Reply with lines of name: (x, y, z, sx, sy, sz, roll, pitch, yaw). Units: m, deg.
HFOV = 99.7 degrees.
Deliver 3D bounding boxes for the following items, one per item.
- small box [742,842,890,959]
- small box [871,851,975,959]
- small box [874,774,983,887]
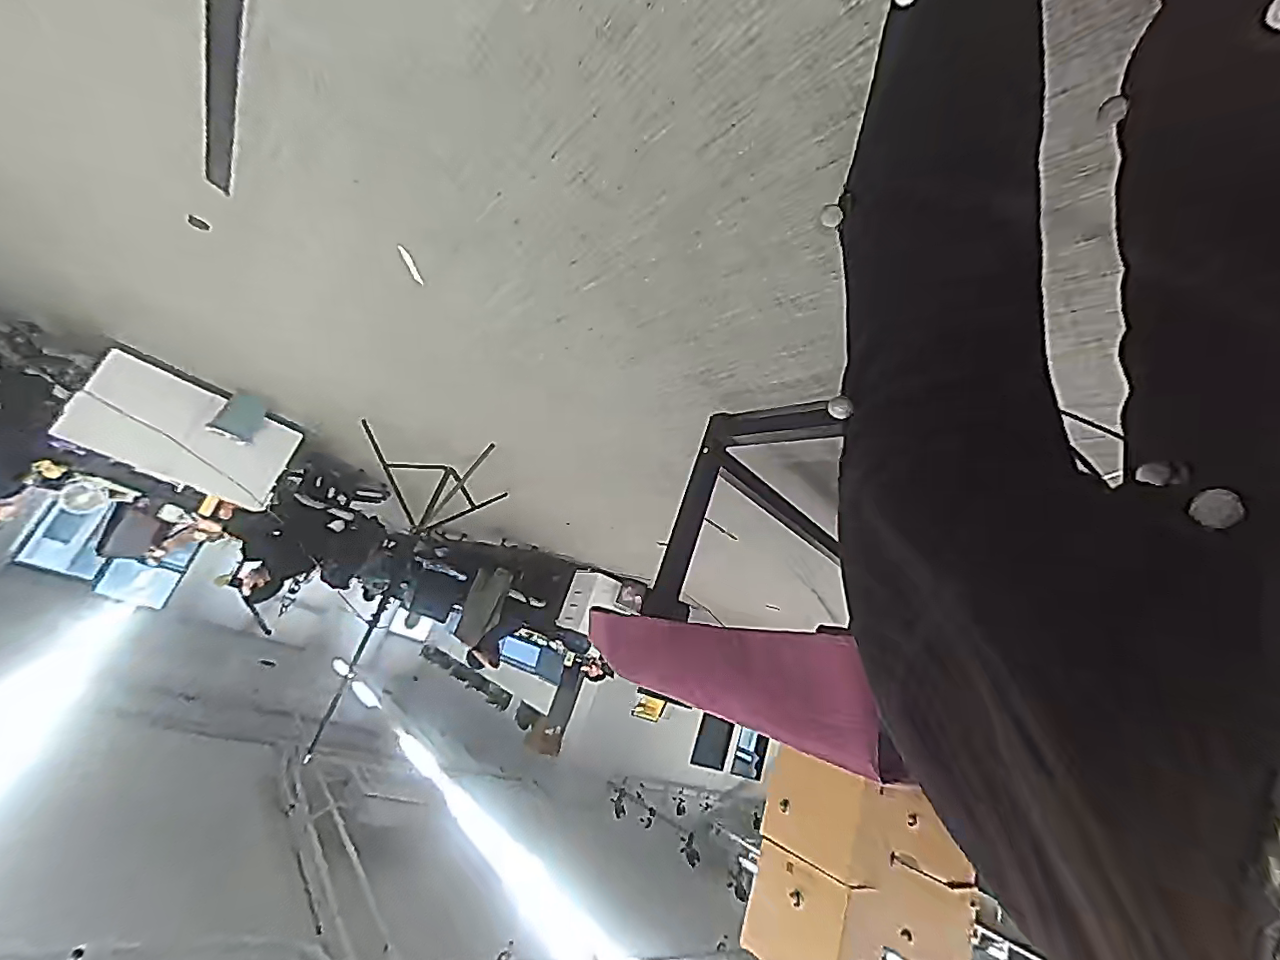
small box: (0.308, 0.750, 0.929, 0.168, 0.176, 0.179, -1, 154, 48)
small box: (0.612, 0.940, 1.179, 0.168, 0.176, 0.179, 32, 159, -36)
small box: (0.662, 0.793, 1.236, 0.179, 0.176, 0.168, 33, 157, -36)
